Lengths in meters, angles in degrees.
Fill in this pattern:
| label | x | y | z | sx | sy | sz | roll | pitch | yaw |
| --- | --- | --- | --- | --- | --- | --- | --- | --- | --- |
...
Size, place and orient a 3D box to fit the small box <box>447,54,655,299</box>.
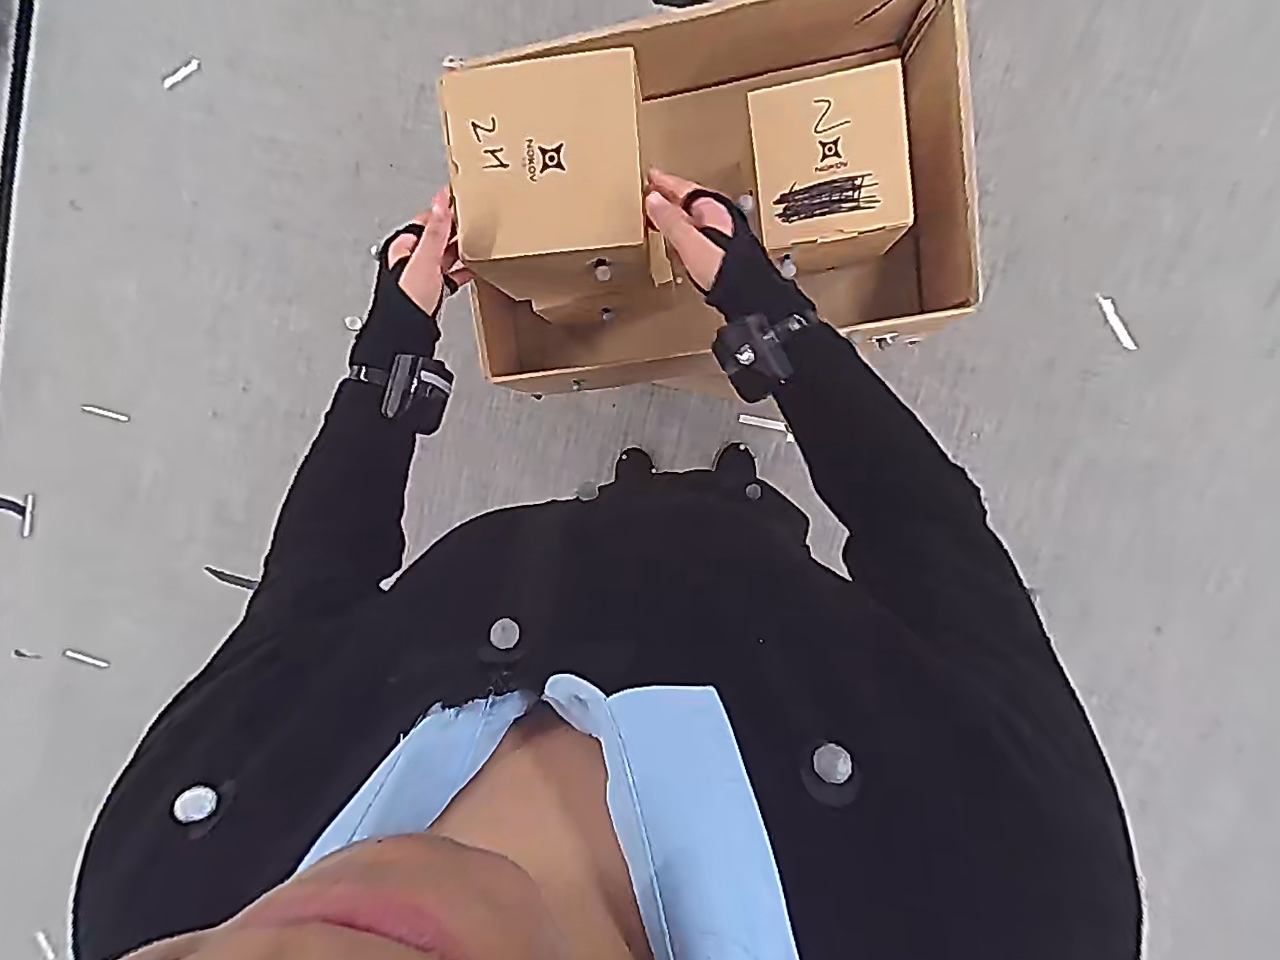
| label | x | y | z | sx | sy | sz | roll | pitch | yaw |
| --- | --- | --- | --- | --- | --- | --- | --- | --- | --- |
| small box | -0.076 | -0.294 | 0.564 | 0.179 | 0.176 | 0.168 | -3 | 96 | 6 |
